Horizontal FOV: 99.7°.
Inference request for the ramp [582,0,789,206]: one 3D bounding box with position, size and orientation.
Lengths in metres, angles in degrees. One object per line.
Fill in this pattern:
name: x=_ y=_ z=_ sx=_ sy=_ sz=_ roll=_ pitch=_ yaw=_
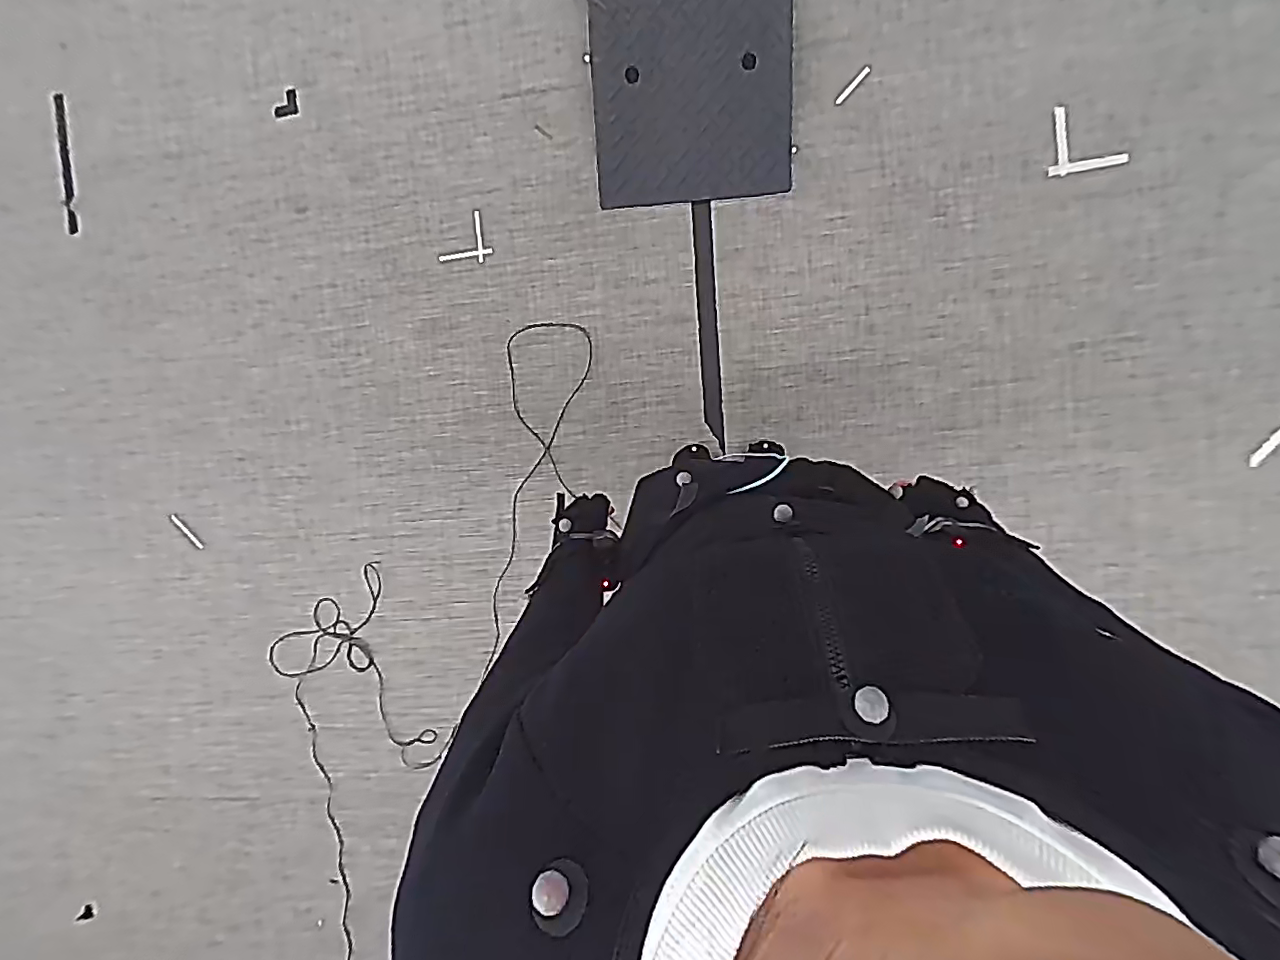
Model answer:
ramp: x=0.101 y=-1.210 z=1.271 sx=0.509 sy=0.206 sz=0.991 roll=-4 pitch=95 yaw=6
